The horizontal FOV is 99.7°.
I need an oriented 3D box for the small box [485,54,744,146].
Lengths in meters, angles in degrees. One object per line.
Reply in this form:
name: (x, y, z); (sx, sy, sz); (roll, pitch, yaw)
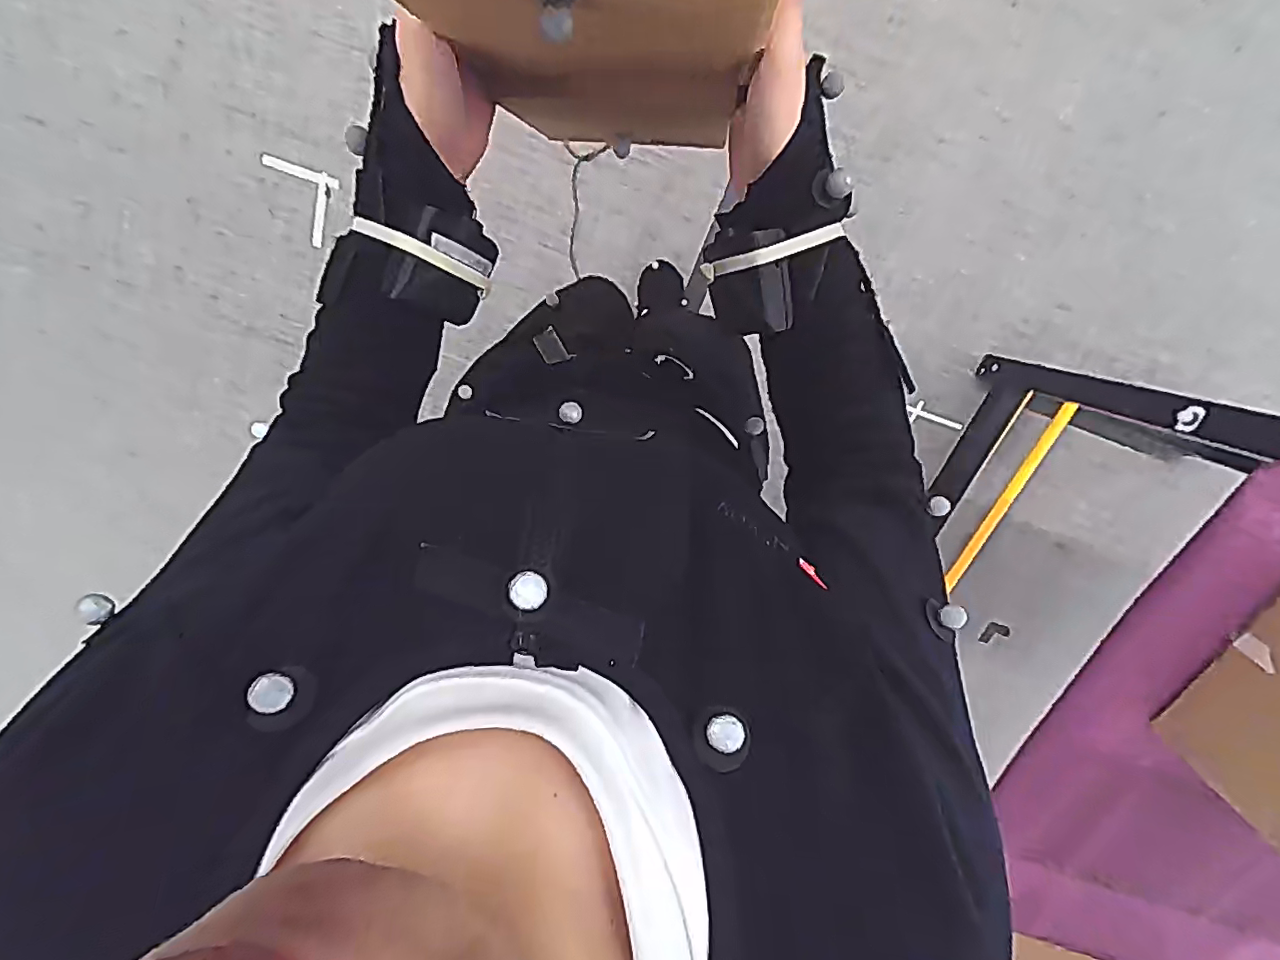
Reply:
small box: (-0.005, -0.356, 0.383); (0.168, 0.176, 0.179); (6, 115, 5)

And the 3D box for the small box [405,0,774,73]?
small box: (-0.017, -0.298, 0.232); (0.179, 0.176, 0.168); (5, 114, 6)
